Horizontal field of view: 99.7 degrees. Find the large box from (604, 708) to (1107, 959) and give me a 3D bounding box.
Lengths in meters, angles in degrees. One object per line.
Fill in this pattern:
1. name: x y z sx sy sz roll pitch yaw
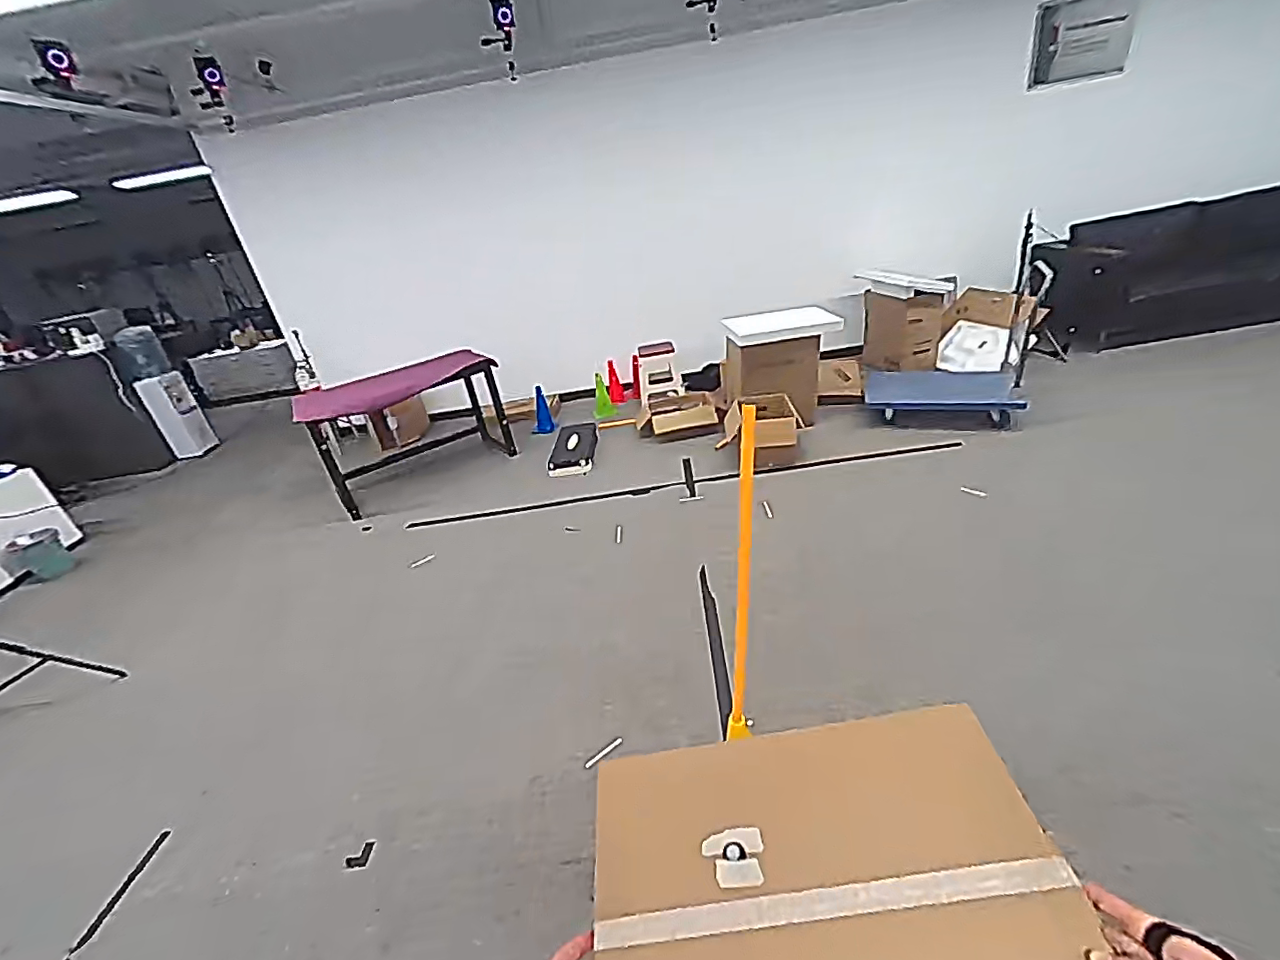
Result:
1. large box: 0.197 0.493 0.560 0.408 0.320 0.320 -13 34 6
